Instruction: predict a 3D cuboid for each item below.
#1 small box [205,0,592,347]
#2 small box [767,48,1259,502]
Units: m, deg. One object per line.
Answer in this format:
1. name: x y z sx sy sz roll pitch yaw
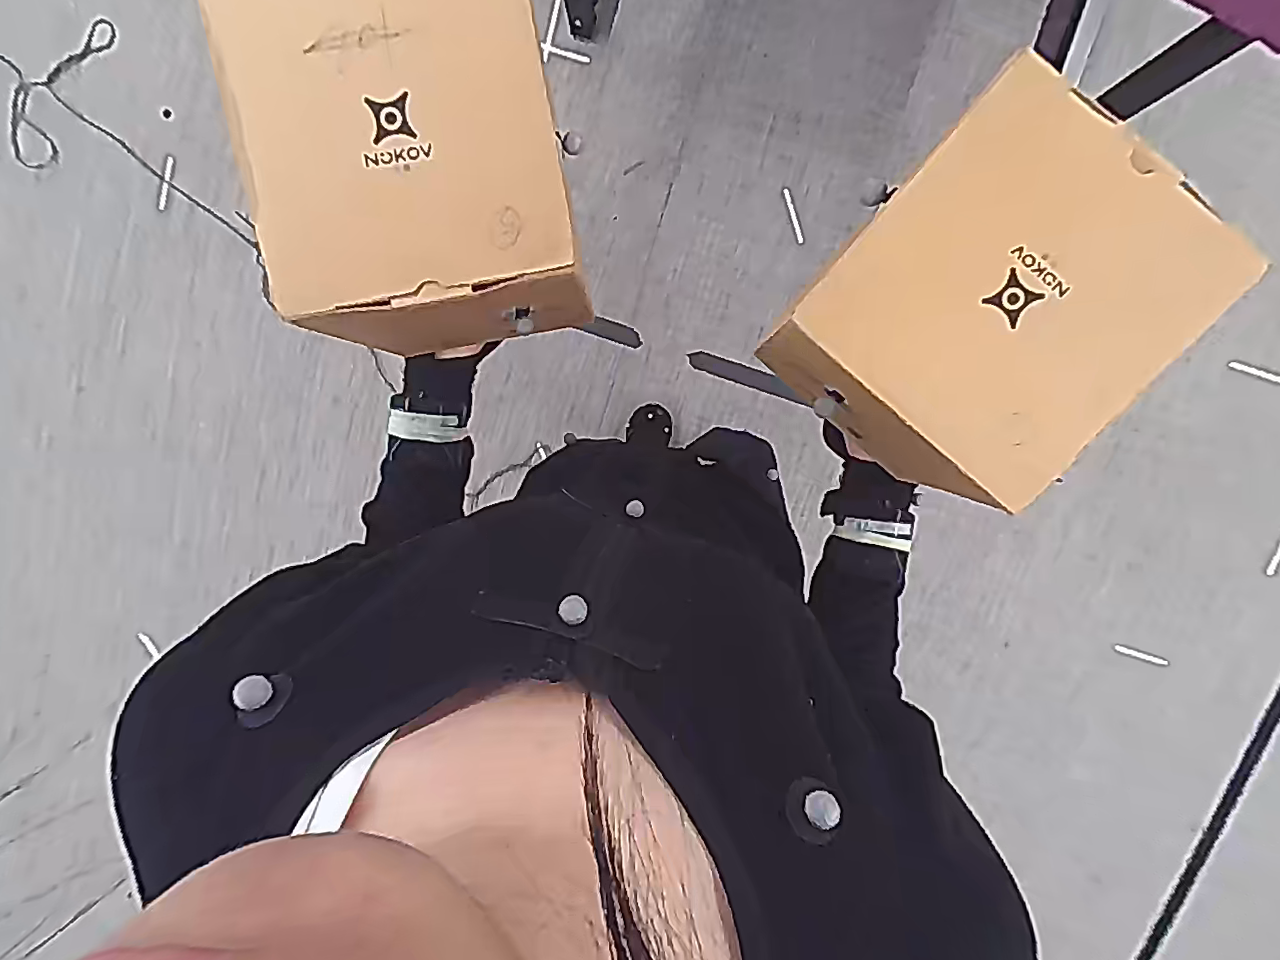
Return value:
1. small box: -0.129 -0.193 0.363 0.168 0.176 0.179 -11 96 -2
2. small box: 0.204 -0.110 0.363 0.168 0.176 0.179 41 97 -1
